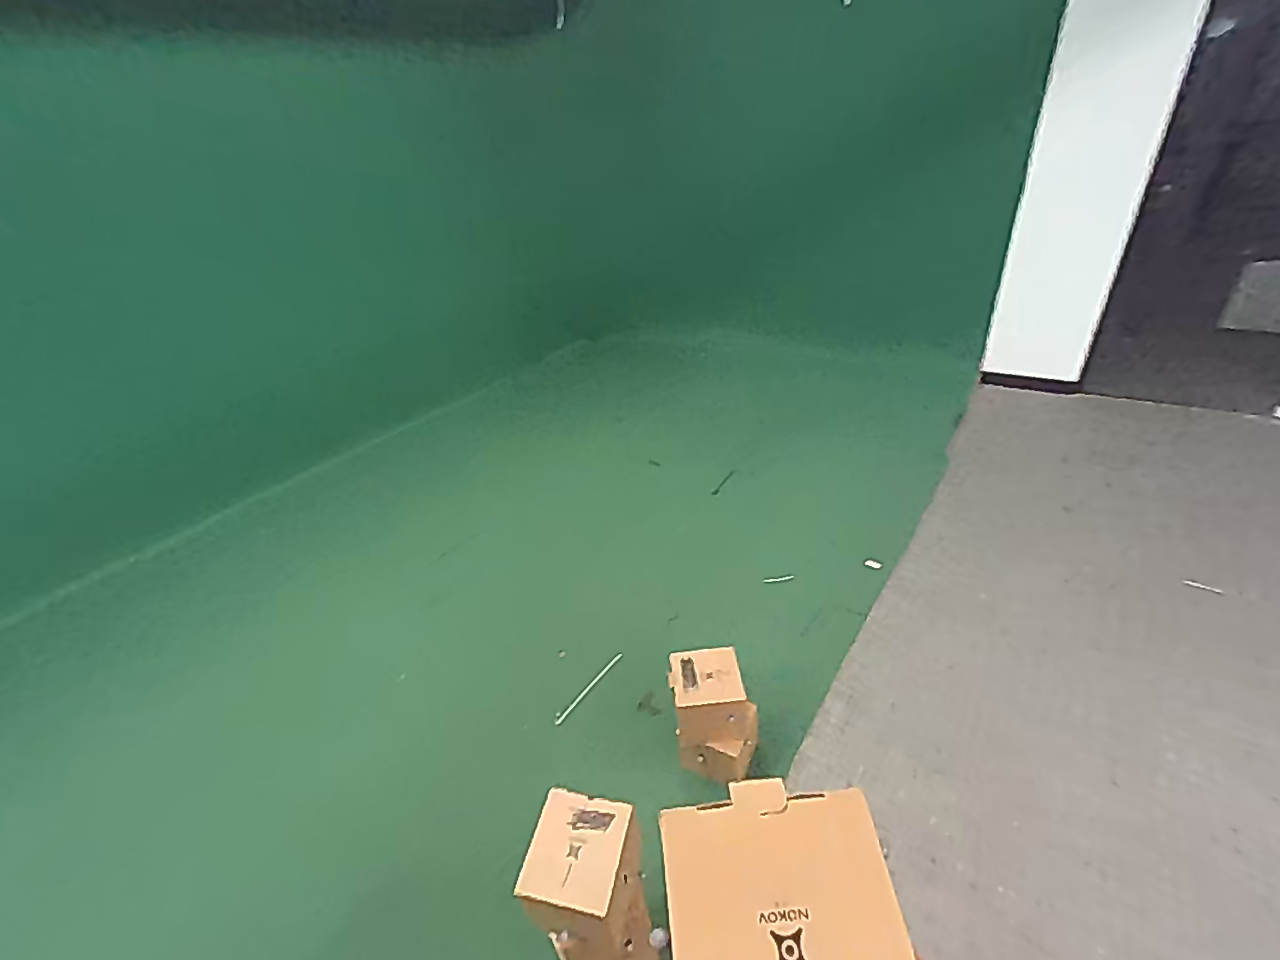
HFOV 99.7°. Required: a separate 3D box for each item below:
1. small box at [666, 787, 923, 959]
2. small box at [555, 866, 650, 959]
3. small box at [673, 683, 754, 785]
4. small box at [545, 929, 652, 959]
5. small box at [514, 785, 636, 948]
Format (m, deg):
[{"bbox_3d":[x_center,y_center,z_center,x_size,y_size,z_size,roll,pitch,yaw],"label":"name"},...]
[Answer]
[{"bbox_3d":[0.114,0.367,0.432,0.168,0.176,0.179,-6,48,1],"label":"small box"},{"bbox_3d":[-0.084,0.832,1.081,0.168,0.176,0.179,-13,33,-11],"label":"small box"},{"bbox_3d":[0.208,0.708,1.506,0.179,0.176,0.168,11,37,27],"label":"small box"},{"bbox_3d":[-0.090,0.980,1.153,0.168,0.176,0.179,-26,37,-27],"label":"small box"},{"bbox_3d":[-0.106,0.700,0.985,0.168,0.176,0.179,4,36,14],"label":"small box"}]
